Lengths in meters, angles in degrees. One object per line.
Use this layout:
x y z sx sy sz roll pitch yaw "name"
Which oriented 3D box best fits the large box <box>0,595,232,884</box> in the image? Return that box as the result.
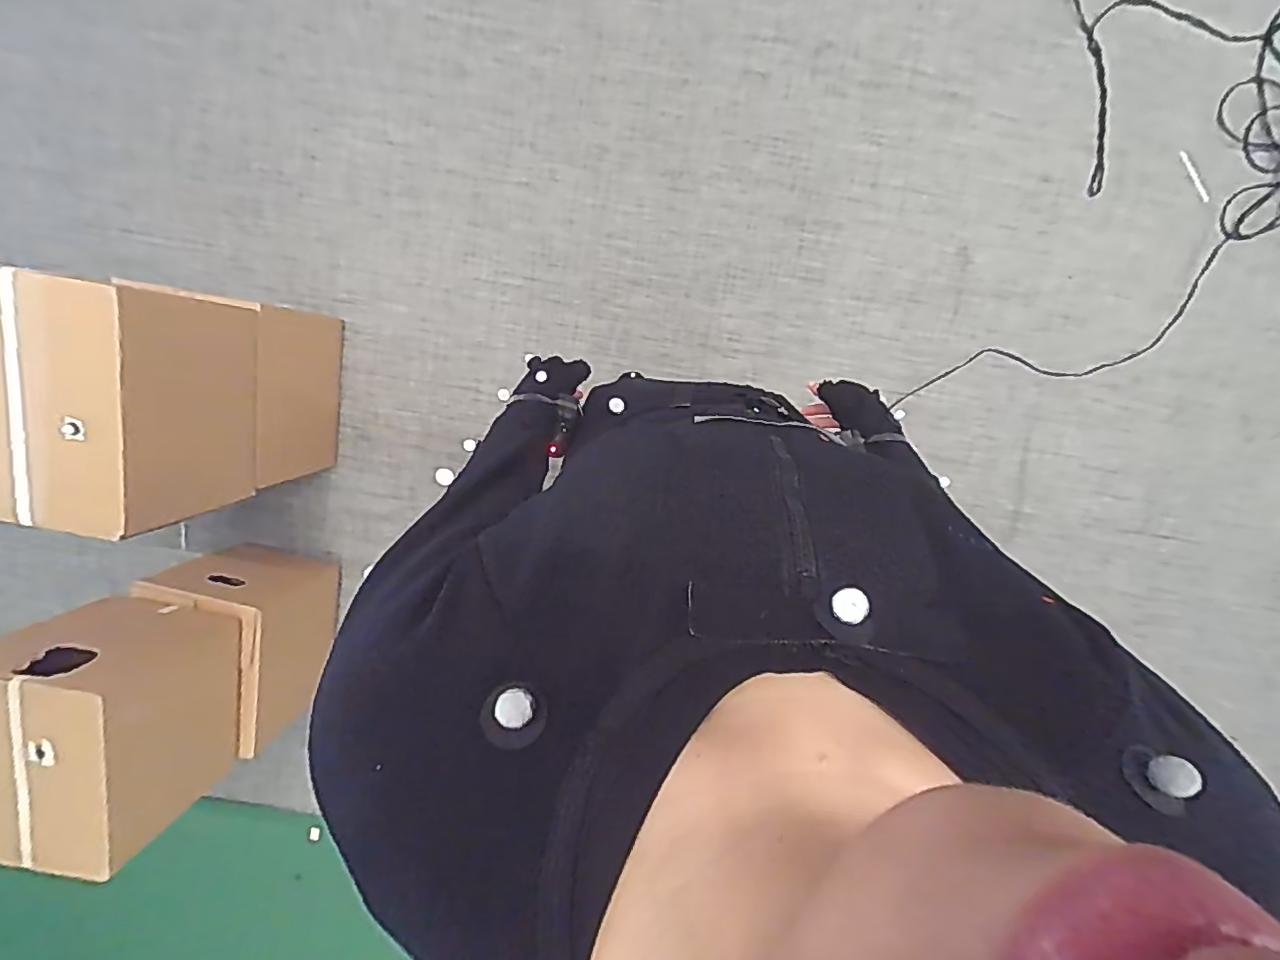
-1.112 0.505 1.119 0.320 0.320 0.408 11 100 3 "large box"
